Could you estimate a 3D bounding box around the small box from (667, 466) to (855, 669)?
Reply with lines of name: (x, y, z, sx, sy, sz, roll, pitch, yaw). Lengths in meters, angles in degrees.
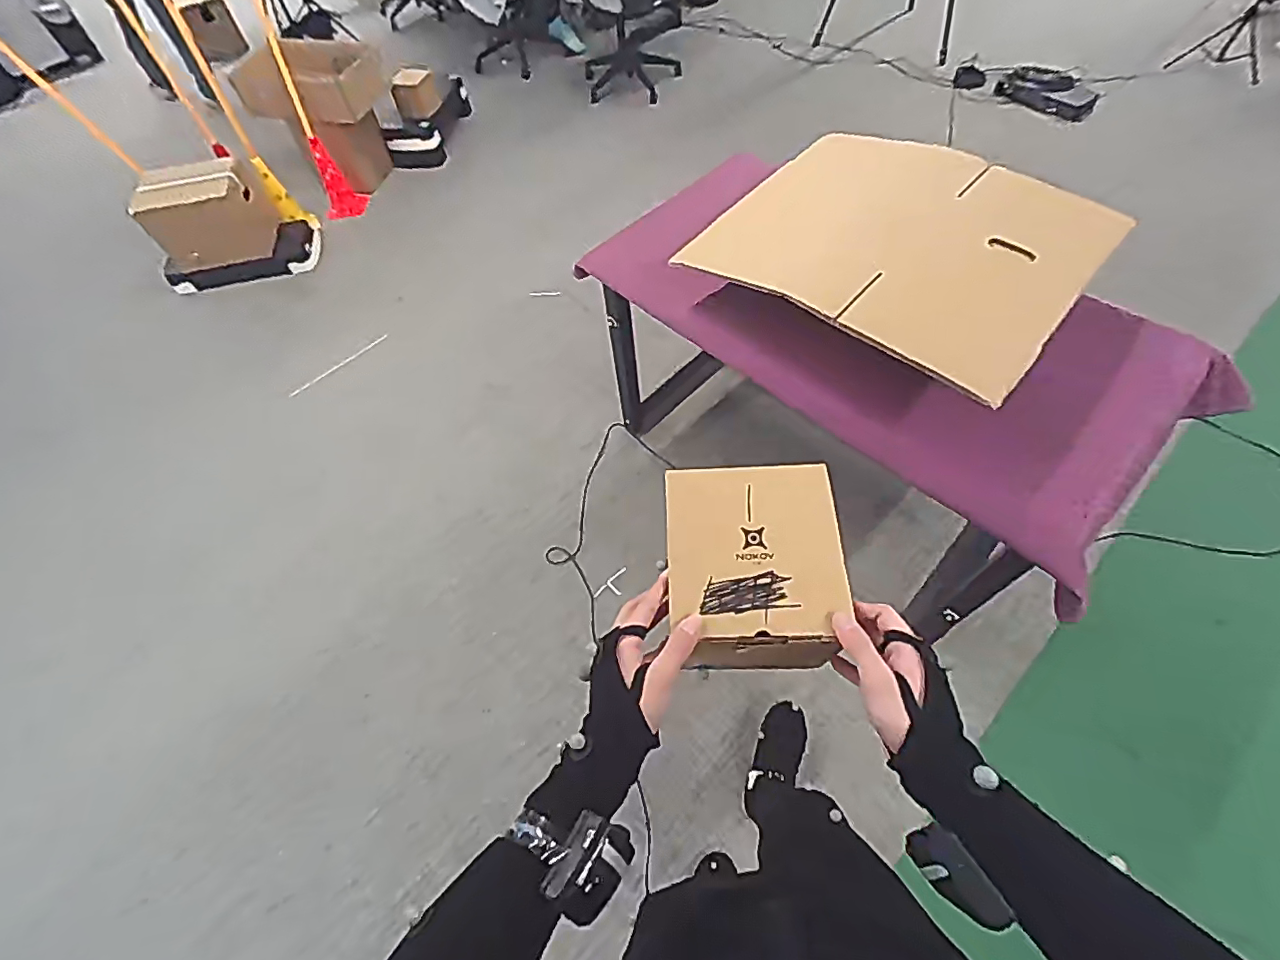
small box: (0.114, 0.101, 0.582, 0.168, 0.176, 0.179, -1, 61, 4)
